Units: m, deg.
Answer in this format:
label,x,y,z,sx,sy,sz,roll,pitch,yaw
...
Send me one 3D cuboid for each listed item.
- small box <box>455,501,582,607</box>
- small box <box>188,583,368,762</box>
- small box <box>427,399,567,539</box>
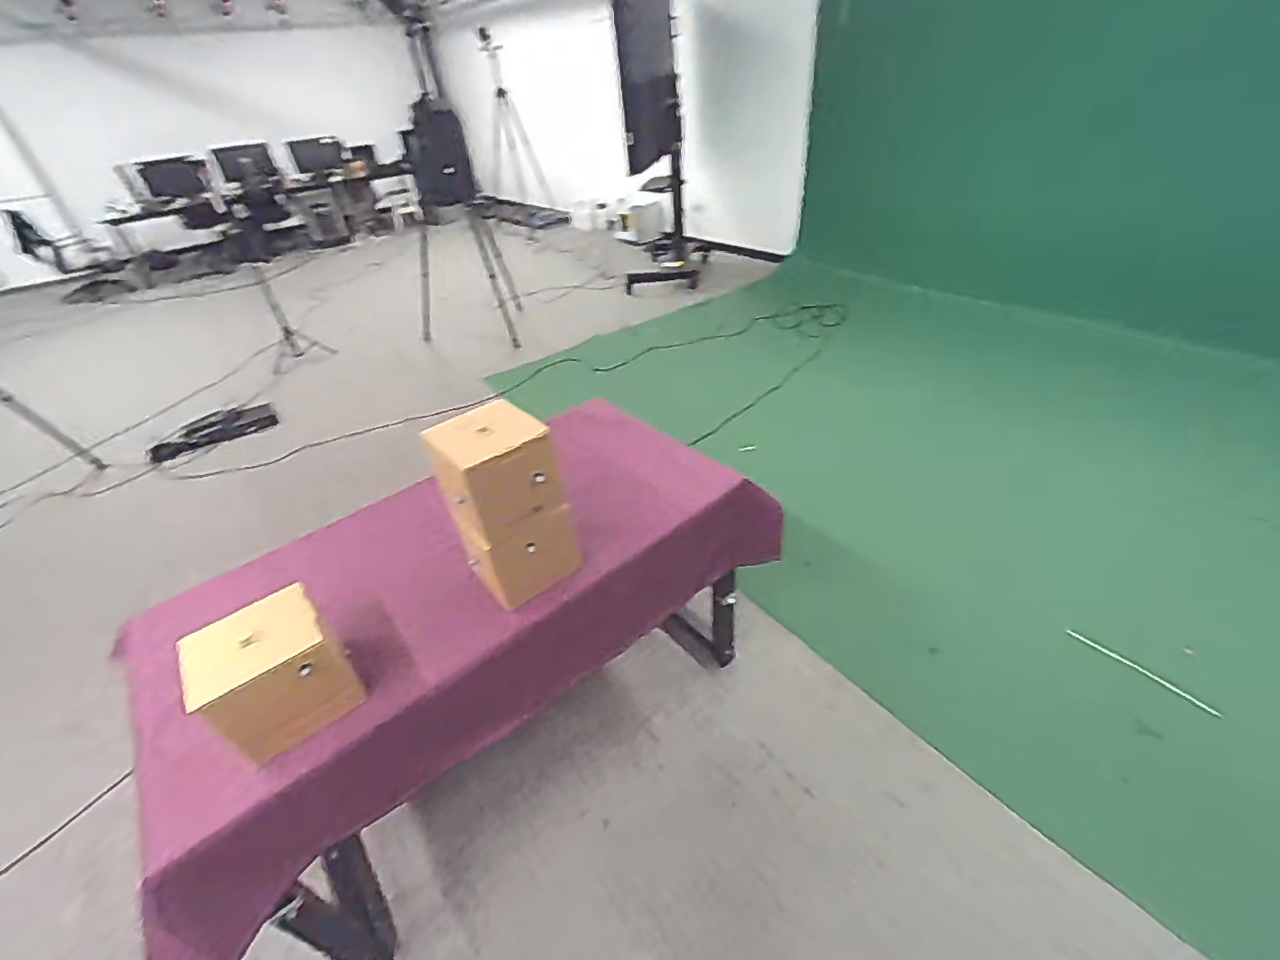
label,x,y,z,sx,sy,sz,roll,pitch,yaw
small box,-0.233,0.116,1.069,0.179,0.176,0.168,-29,43,-27
small box,-0.575,0.307,0.868,0.179,0.176,0.168,-29,42,-29
small box,-0.251,-0.017,0.976,0.168,0.176,0.179,-30,42,-29
